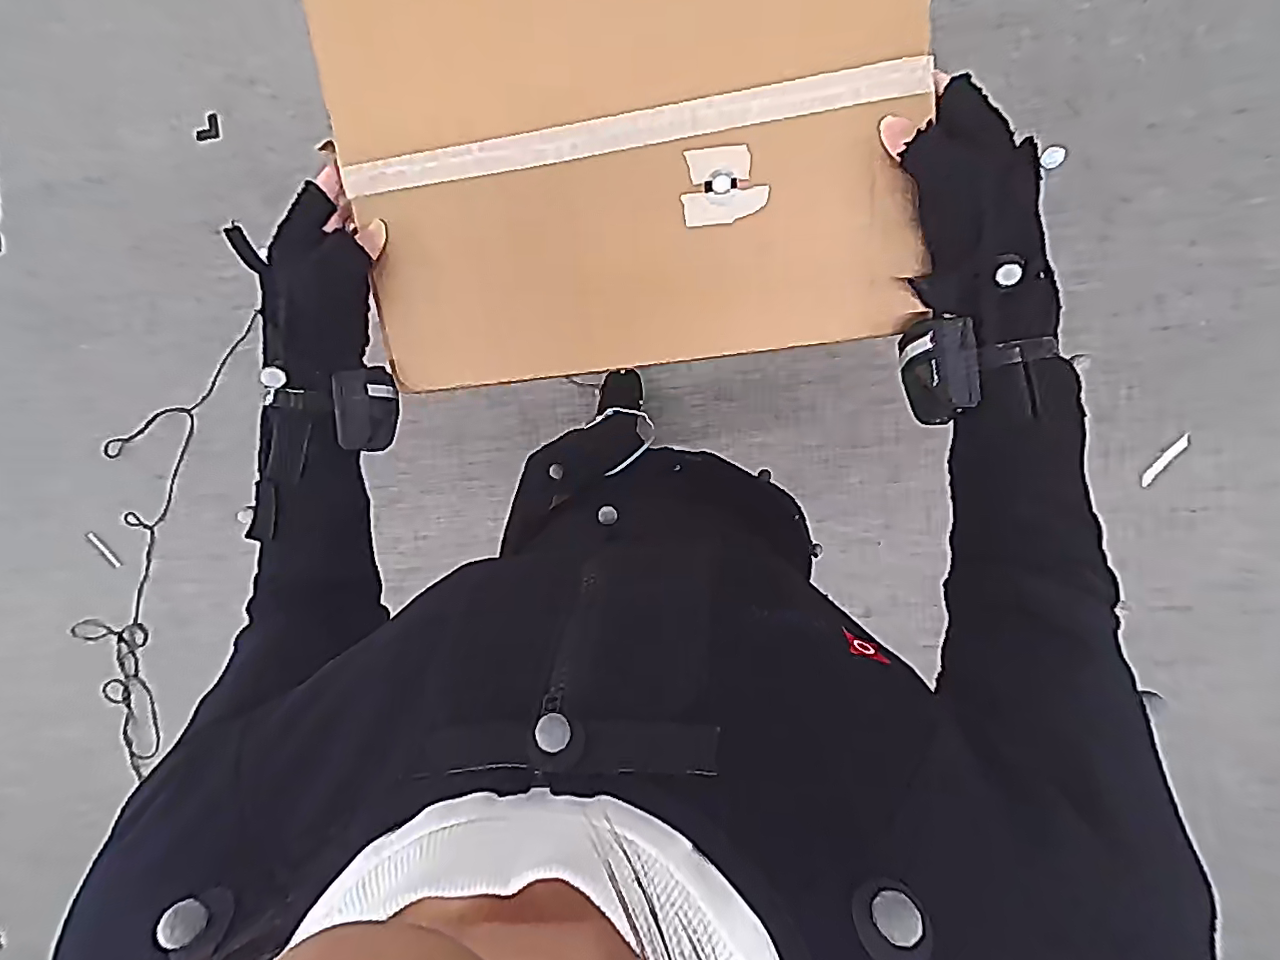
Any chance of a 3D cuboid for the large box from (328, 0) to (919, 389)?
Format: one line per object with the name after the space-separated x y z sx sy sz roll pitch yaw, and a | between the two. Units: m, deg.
0.002 -0.280 0.531 0.408 0.320 0.320 -6 104 8 | large box
